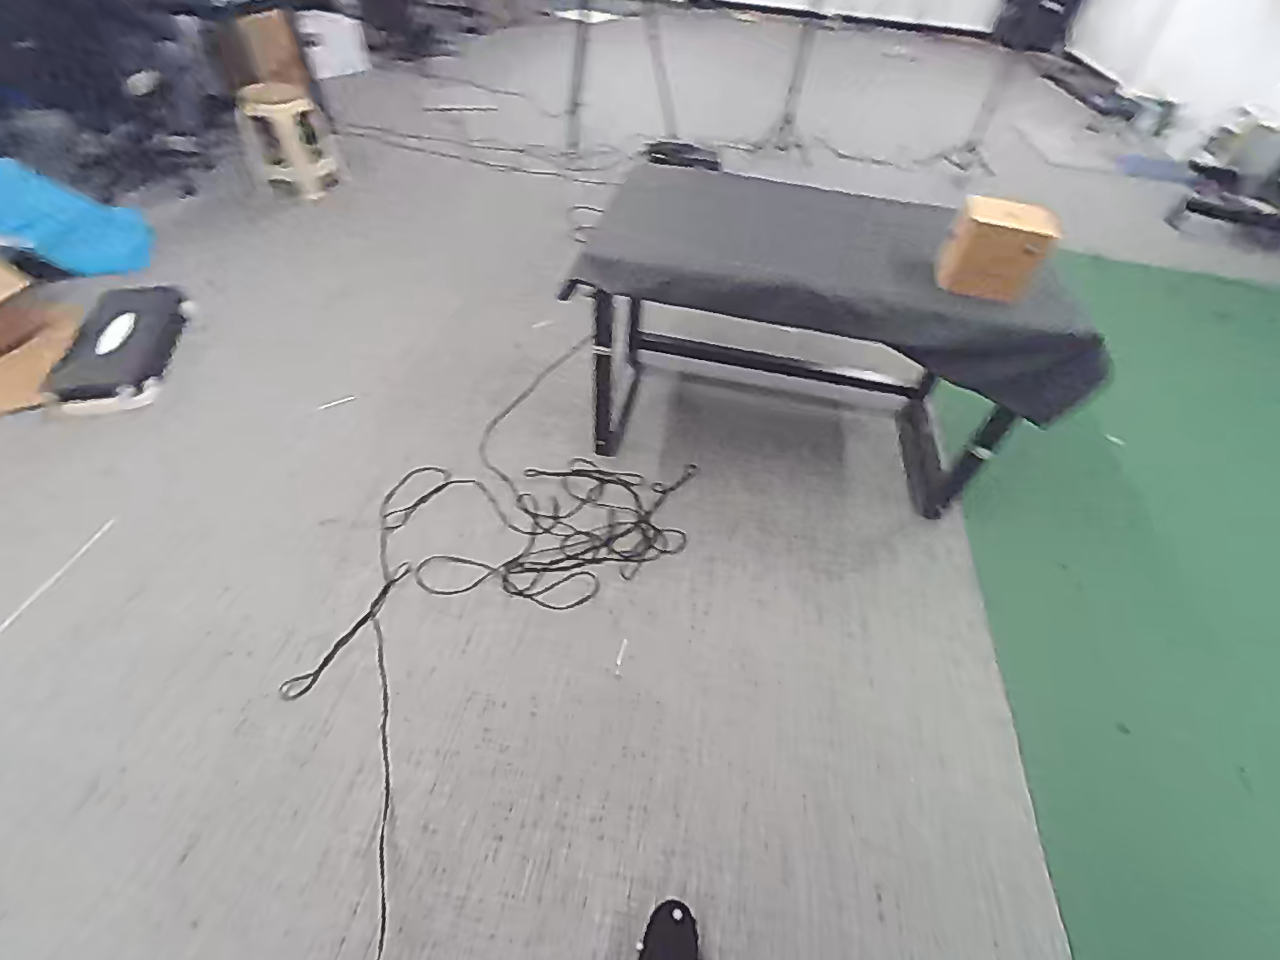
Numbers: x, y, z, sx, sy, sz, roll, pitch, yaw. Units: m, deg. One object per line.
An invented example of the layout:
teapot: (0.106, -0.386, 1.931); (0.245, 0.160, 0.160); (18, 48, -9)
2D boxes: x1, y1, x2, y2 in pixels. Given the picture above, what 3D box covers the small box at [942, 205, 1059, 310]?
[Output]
small box: (0.840, -0.526, 1.286); (0.179, 0.176, 0.168); (17, 48, 9)
